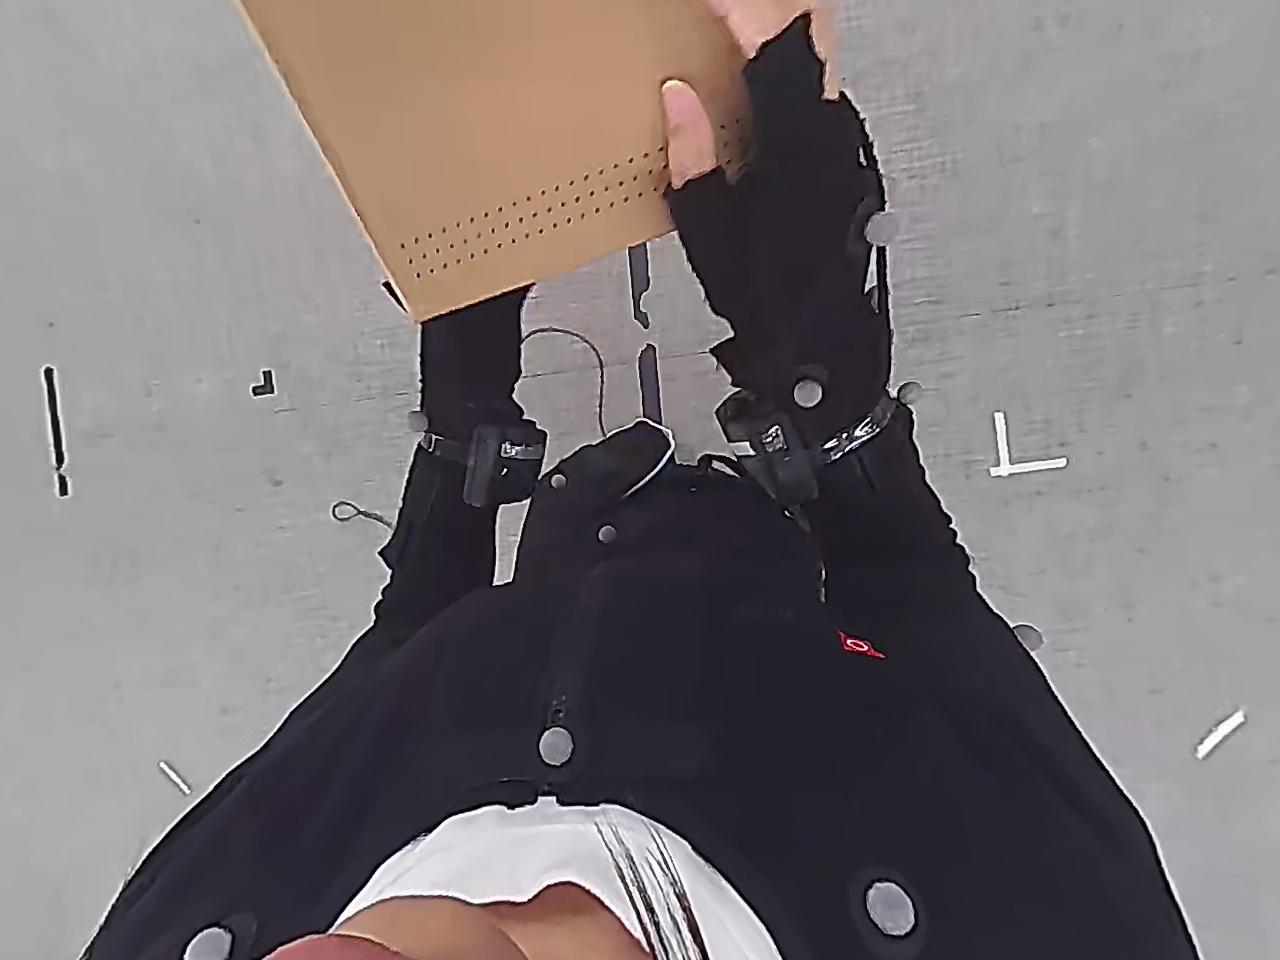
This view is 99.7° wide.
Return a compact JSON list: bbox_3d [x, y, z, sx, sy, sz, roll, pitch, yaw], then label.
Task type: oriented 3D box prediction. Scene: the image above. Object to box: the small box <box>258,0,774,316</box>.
[{"bbox_3d":[-0.049,-0.202,0.268,0.179,0.168,0.176,-16,124,8],"label":"small box"}]
